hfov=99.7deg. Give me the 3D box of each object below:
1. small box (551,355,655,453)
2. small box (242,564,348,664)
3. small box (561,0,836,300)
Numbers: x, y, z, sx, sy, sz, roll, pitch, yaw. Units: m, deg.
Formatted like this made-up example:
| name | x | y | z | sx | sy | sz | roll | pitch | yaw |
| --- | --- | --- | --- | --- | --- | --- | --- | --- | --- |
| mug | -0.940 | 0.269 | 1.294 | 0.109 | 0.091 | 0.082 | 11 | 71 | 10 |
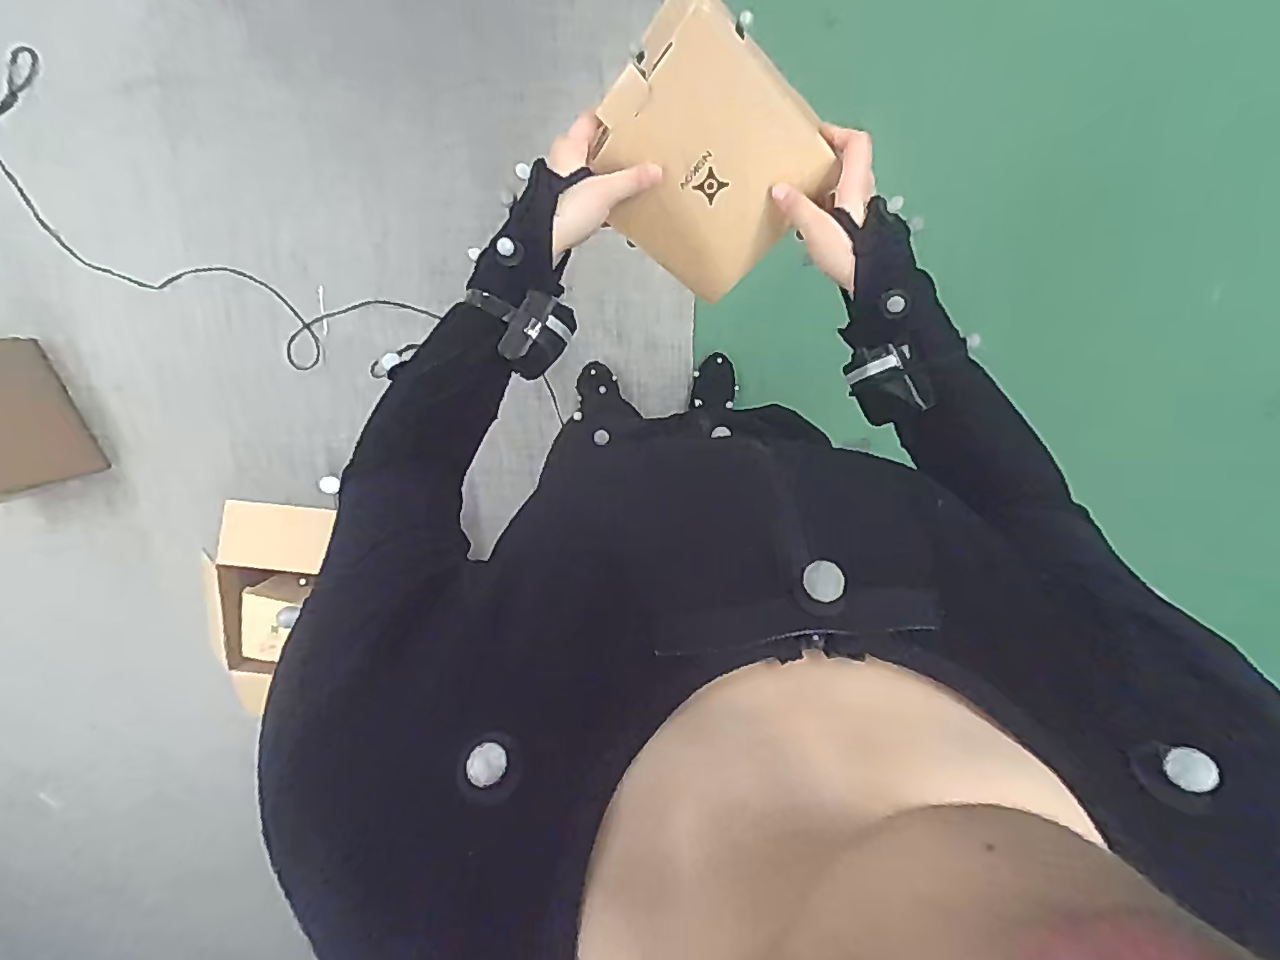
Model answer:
| name | x | y | z | sx | sy | sz | roll | pitch | yaw |
| --- | --- | --- | --- | --- | --- | --- | --- | --- | --- |
| small box | -0.087 | -0.188 | 1.356 | 0.176 | 0.168 | 0.179 | 34 | 78 | -30 |
| small box | -0.871 | 0.332 | 1.378 | 0.168 | 0.176 | 0.179 | 12 | 105 | 4 |
| small box | 0.051 | -0.316 | 0.508 | 0.179 | 0.176 | 0.168 | 29 | 132 | -26 |
